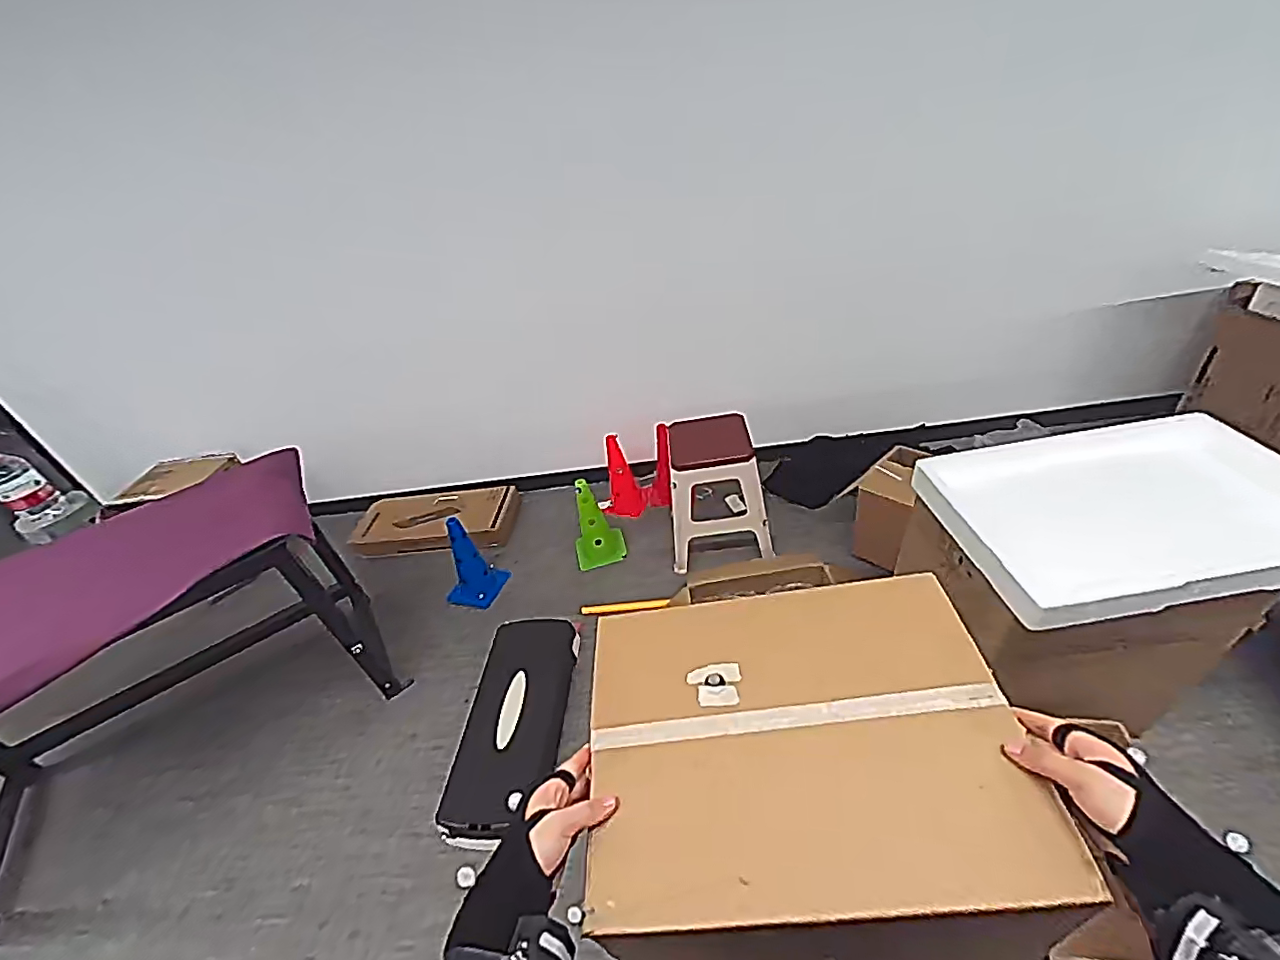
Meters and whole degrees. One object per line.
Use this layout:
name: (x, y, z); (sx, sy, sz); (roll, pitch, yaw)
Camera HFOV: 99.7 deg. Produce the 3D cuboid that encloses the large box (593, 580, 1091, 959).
large box: (0.182, 0.362, 0.640); (0.408, 0.320, 0.320); (-10, 38, 7)
